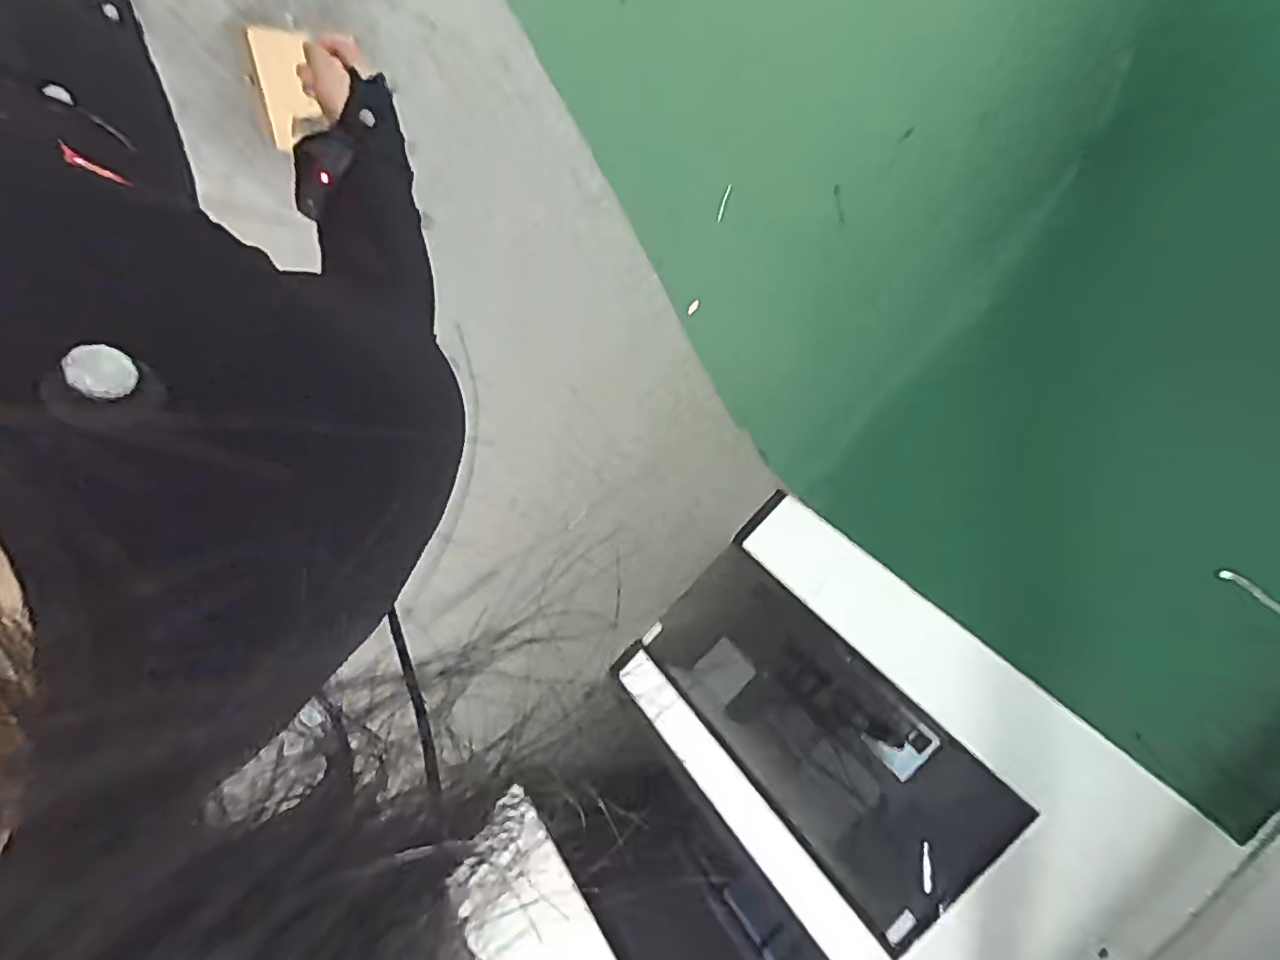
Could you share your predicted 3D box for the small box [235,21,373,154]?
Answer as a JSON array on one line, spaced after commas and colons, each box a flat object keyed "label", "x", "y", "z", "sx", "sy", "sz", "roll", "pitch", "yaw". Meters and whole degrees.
[{"label": "small box", "x": -0.626, "y": -0.731, "z": 1.013, "sx": 0.168, "sy": 0.176, "sz": 0.179, "roll": -22, "pitch": 138, "yaw": -31}]
